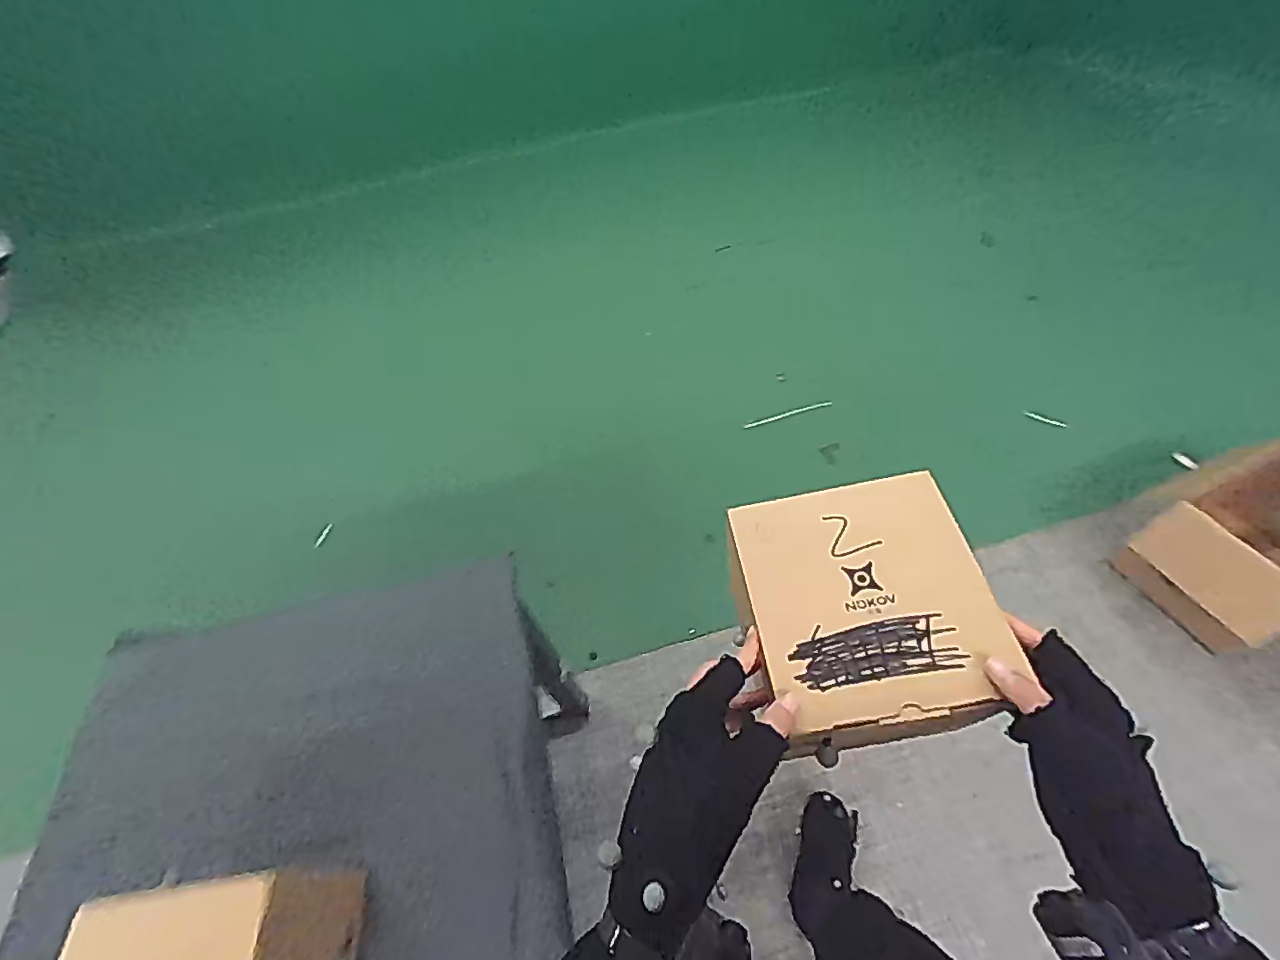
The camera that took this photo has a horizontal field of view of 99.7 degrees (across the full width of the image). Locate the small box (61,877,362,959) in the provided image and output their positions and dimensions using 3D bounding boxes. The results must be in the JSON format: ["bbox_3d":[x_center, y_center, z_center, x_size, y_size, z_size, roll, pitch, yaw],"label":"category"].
[{"bbox_3d":[-0.391,0.476,0.492,0.179,0.176,0.168,-9,54,-1],"label":"small box"}]
